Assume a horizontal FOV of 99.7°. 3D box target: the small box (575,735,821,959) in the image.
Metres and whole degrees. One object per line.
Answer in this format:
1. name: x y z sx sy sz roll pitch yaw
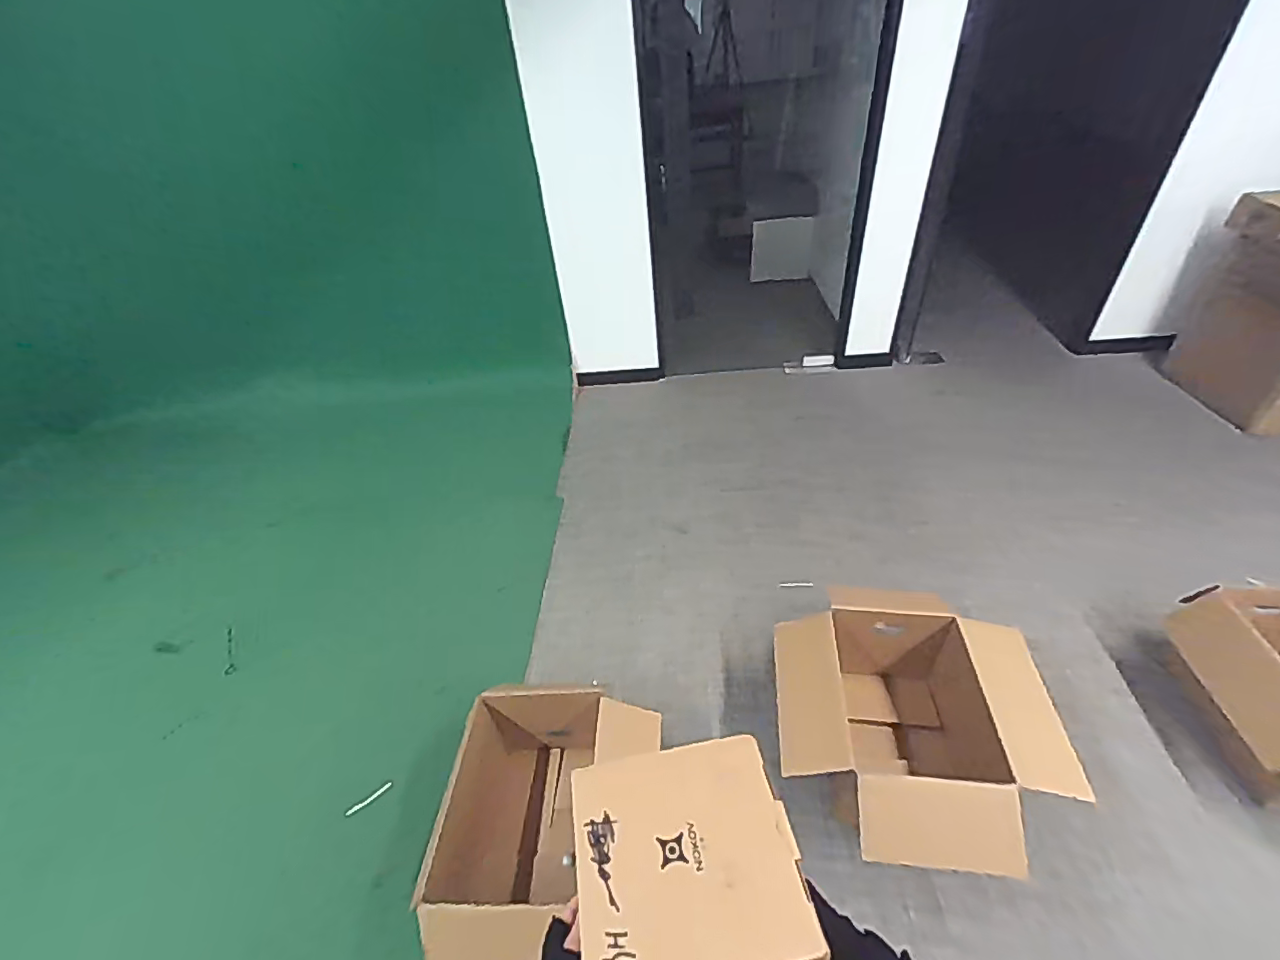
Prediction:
1. small box: 0.038 0.363 0.489 0.179 0.176 0.168 -7 35 -5
